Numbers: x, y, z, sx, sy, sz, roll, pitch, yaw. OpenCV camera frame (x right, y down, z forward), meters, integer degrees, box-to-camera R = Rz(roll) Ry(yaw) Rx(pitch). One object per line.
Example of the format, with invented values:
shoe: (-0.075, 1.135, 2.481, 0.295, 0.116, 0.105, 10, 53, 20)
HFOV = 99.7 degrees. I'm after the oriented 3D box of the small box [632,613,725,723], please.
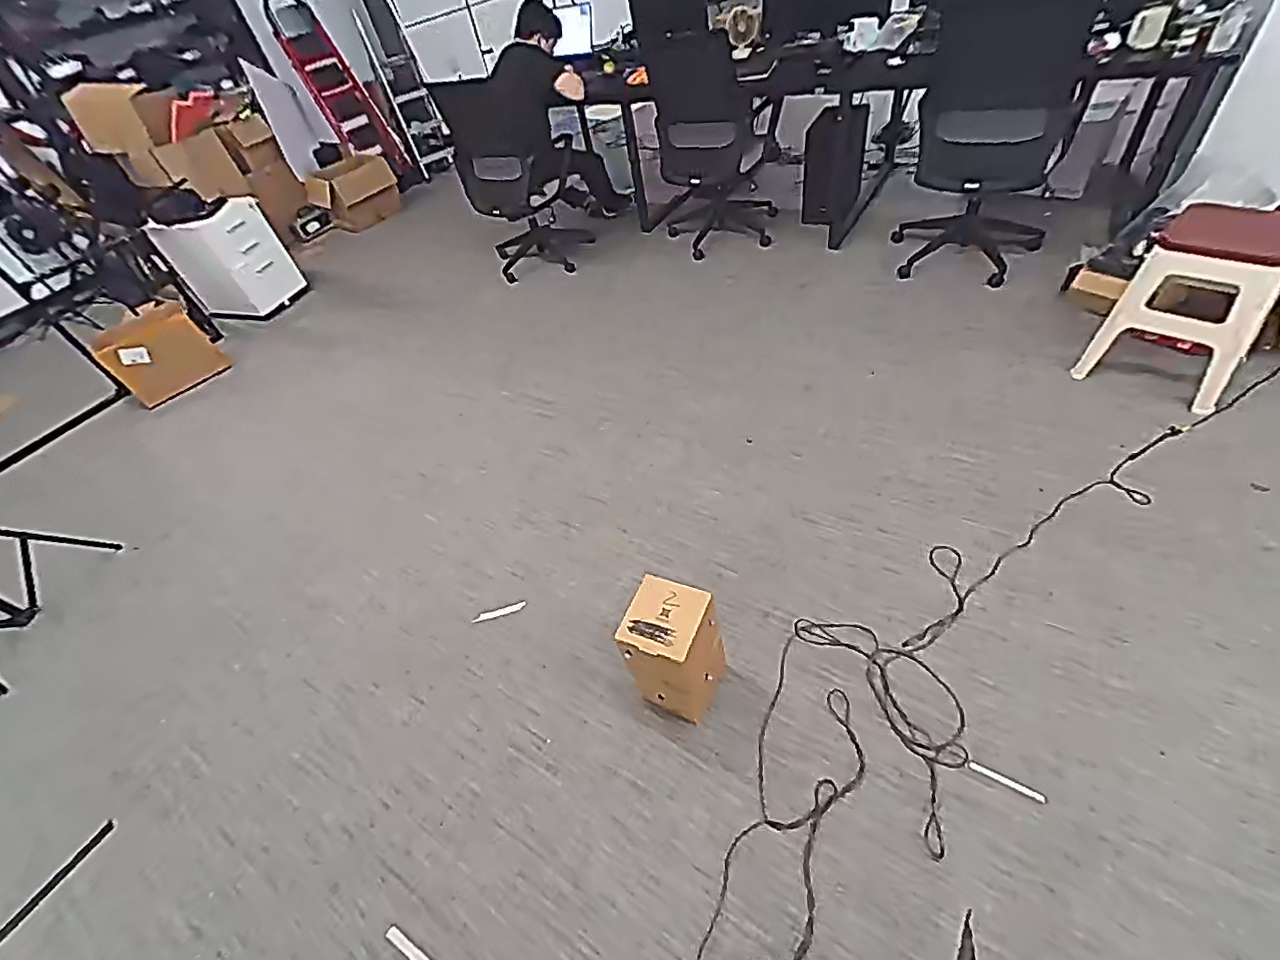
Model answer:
small box: (0.105, 0.471, 1.349, 0.168, 0.176, 0.179, 17, 53, 27)
